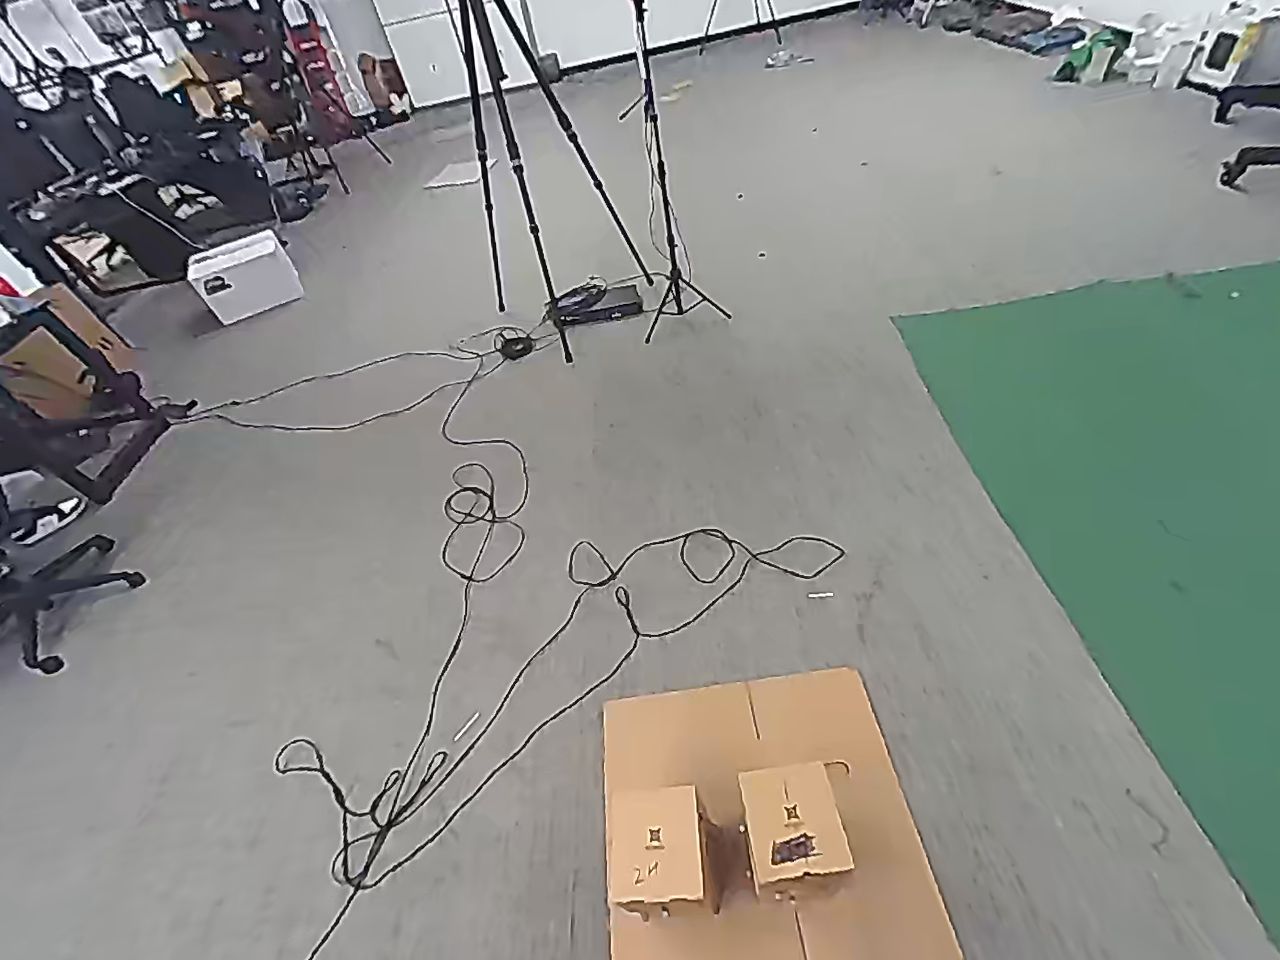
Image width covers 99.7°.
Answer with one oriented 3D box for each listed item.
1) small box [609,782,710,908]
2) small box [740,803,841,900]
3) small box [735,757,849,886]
[{"bbox_3d":[0.040,0.704,1.041,0.168,0.176,0.179,-8,47,7],"label":"small box"},{"bbox_3d":[0.309,0.768,1.150,0.168,0.176,0.179,-10,47,3],"label":"small box"},{"bbox_3d":[0.283,0.656,1.032,0.168,0.176,0.179,-11,47,3],"label":"small box"}]
